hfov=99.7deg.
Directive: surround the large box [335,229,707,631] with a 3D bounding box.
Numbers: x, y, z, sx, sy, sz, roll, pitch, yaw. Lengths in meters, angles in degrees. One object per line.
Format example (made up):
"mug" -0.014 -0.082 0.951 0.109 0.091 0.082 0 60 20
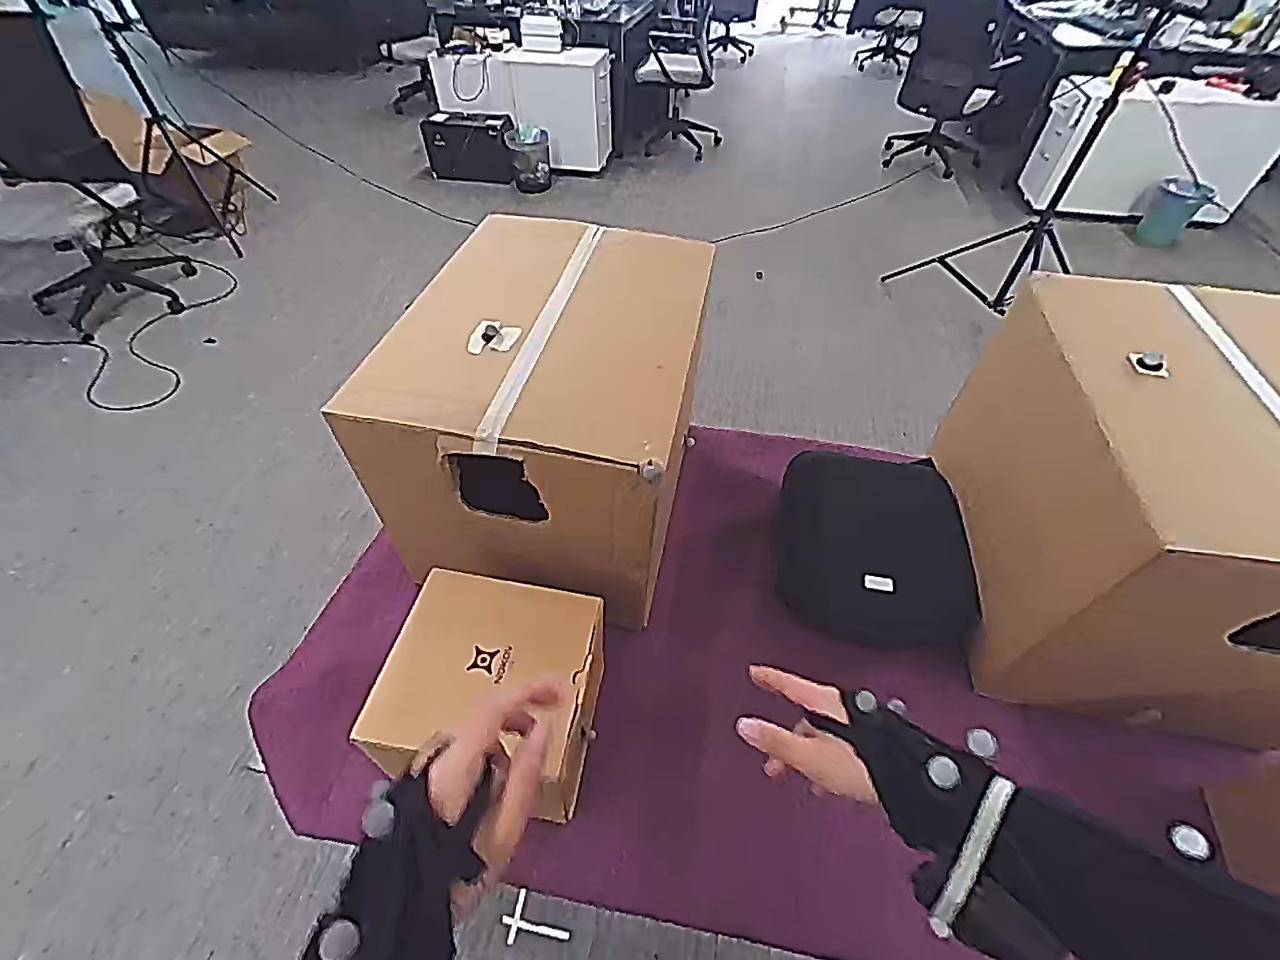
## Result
"large box" -0.102 -0.072 0.714 0.320 0.320 0.408 9 52 6
